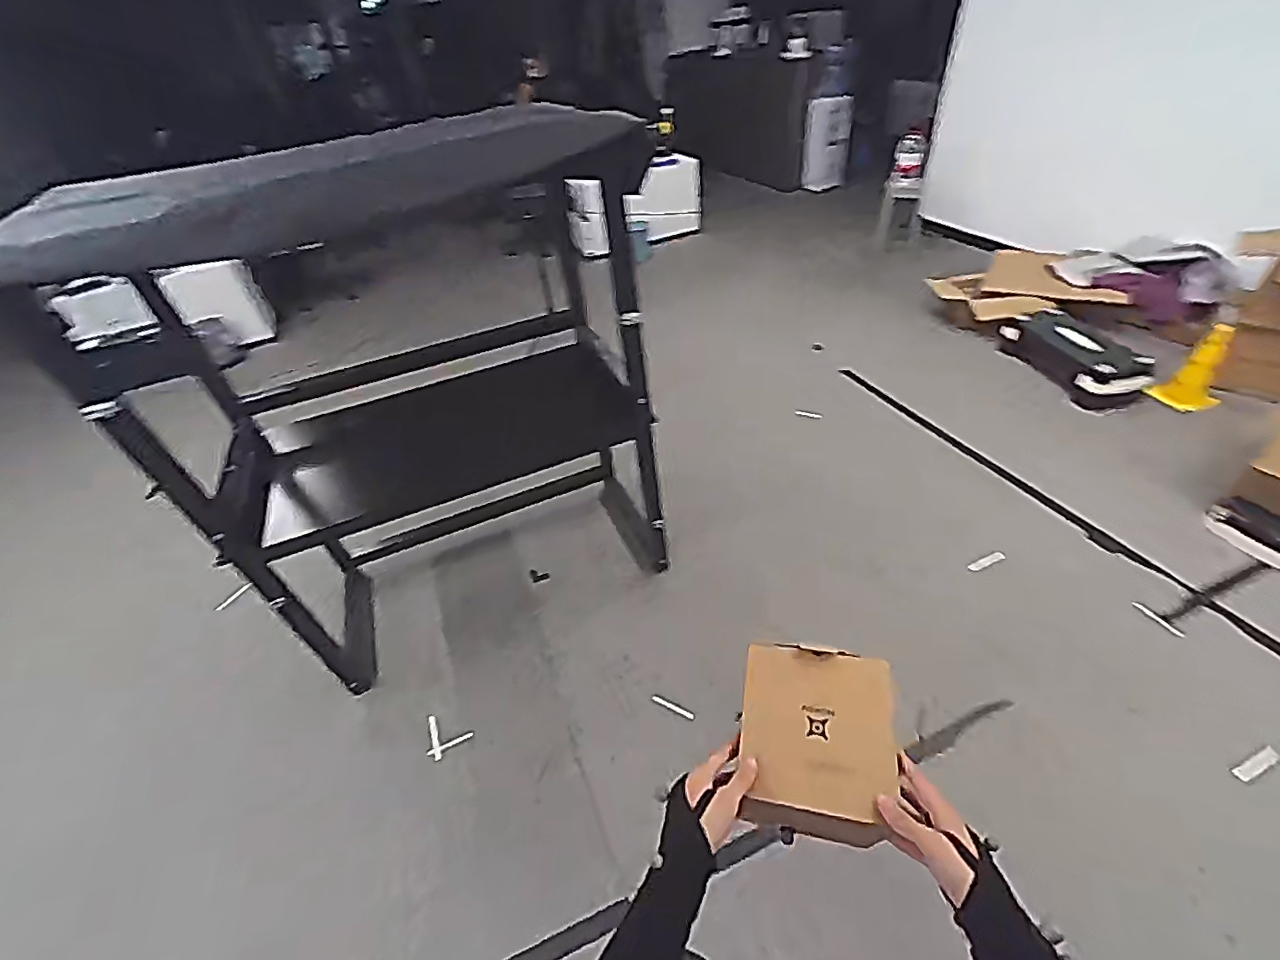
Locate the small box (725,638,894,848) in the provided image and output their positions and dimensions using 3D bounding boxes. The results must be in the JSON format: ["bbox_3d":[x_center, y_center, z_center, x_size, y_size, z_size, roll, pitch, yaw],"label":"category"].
[{"bbox_3d":[0.193,0.318,0.655,0.168,0.176,0.179,4,51,12],"label":"small box"}]
